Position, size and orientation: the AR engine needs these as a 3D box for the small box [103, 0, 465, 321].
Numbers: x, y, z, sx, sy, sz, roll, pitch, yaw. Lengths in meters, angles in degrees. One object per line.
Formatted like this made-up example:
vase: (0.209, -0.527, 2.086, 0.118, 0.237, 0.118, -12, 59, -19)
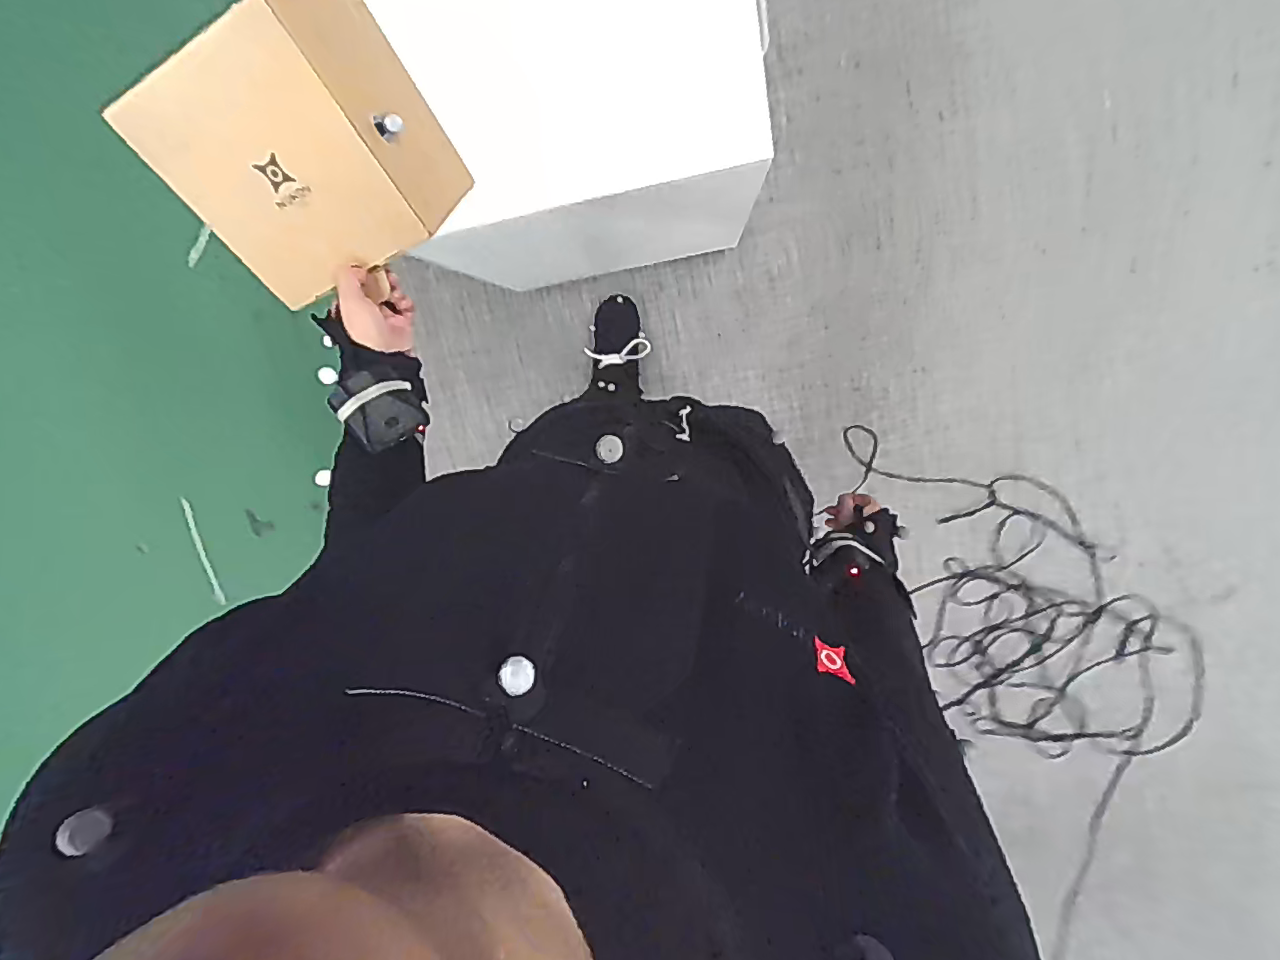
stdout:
small box: (-0.285, -0.282, 0.482, 0.168, 0.176, 0.179, -20, 131, 16)
